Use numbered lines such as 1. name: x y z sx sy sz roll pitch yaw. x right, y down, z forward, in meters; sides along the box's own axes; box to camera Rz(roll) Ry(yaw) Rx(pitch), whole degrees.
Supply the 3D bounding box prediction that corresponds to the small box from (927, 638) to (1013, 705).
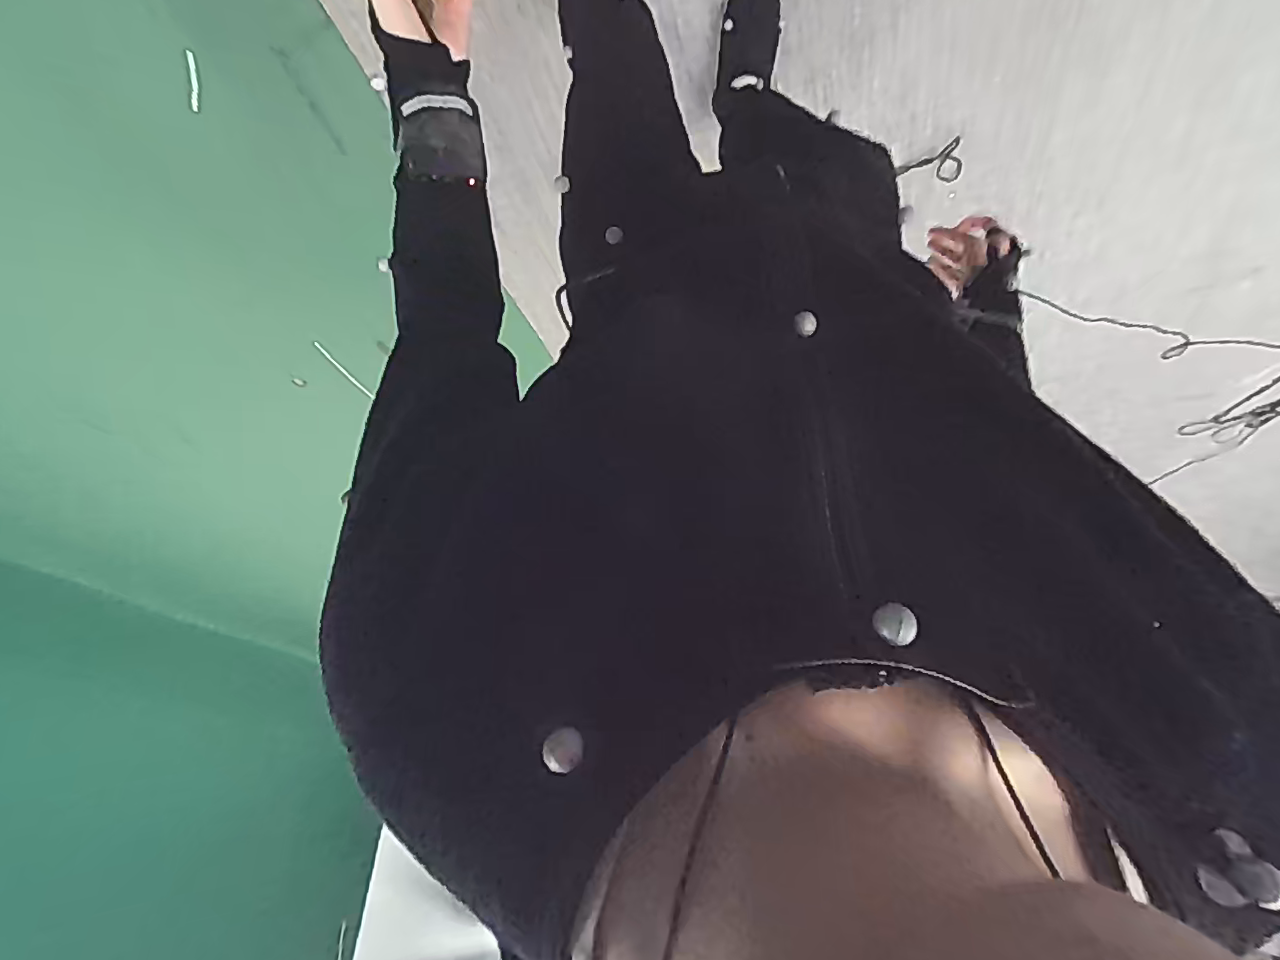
1. small box: 1.094 0.637 1.798 0.179 0.176 0.168 -28 137 33
